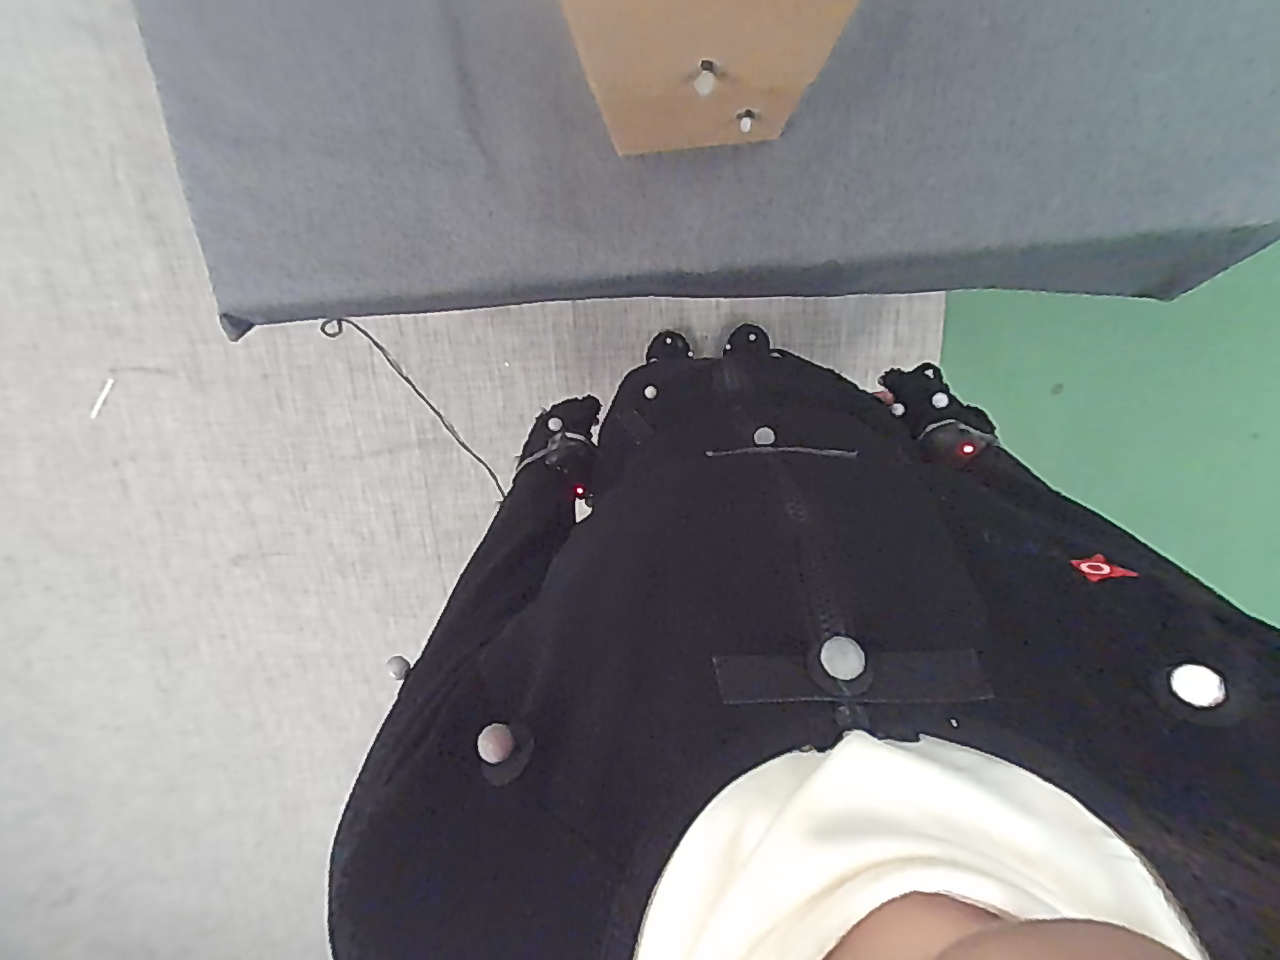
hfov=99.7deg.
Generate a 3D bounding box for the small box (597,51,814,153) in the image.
[{"bbox_3d":[0.051,-0.419,0.489,0.179,0.176,0.168,-4,105,6],"label":"small box"}]

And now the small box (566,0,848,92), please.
[{"bbox_3d":[0.042,-0.370,0.334,0.179,0.176,0.168,-2,105,4],"label":"small box"}]
